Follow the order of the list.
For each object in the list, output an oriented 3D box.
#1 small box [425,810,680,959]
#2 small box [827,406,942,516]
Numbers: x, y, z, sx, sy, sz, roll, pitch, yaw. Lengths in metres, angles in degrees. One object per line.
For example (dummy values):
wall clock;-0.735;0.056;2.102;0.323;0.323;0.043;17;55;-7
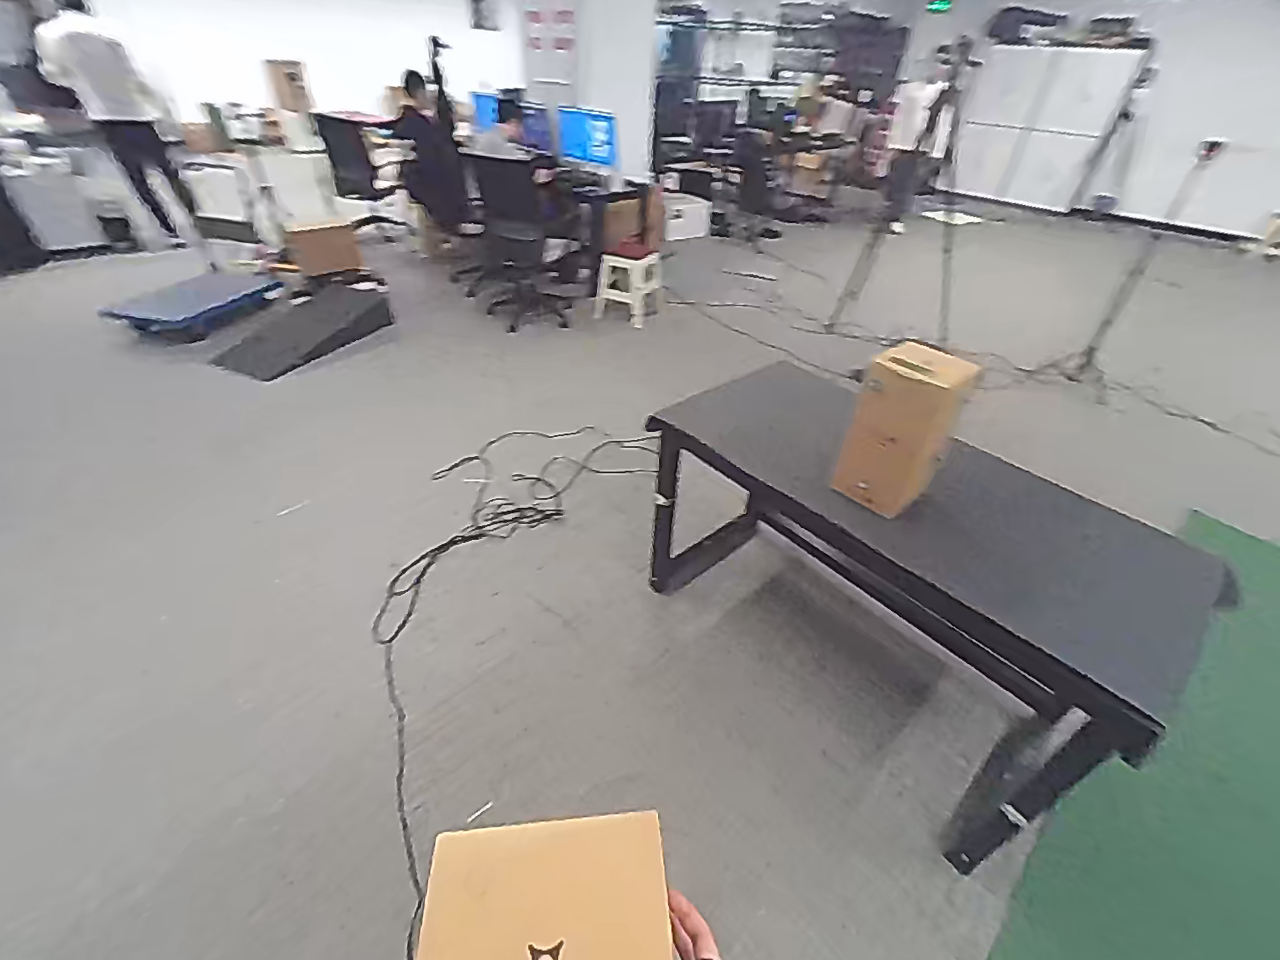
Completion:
small box;-0.057;0.372;0.393;0.168;0.176;0.179;-3;40;-4
small box;0.568;-0.046;1.274;0.179;0.176;0.168;-27;47;-34
